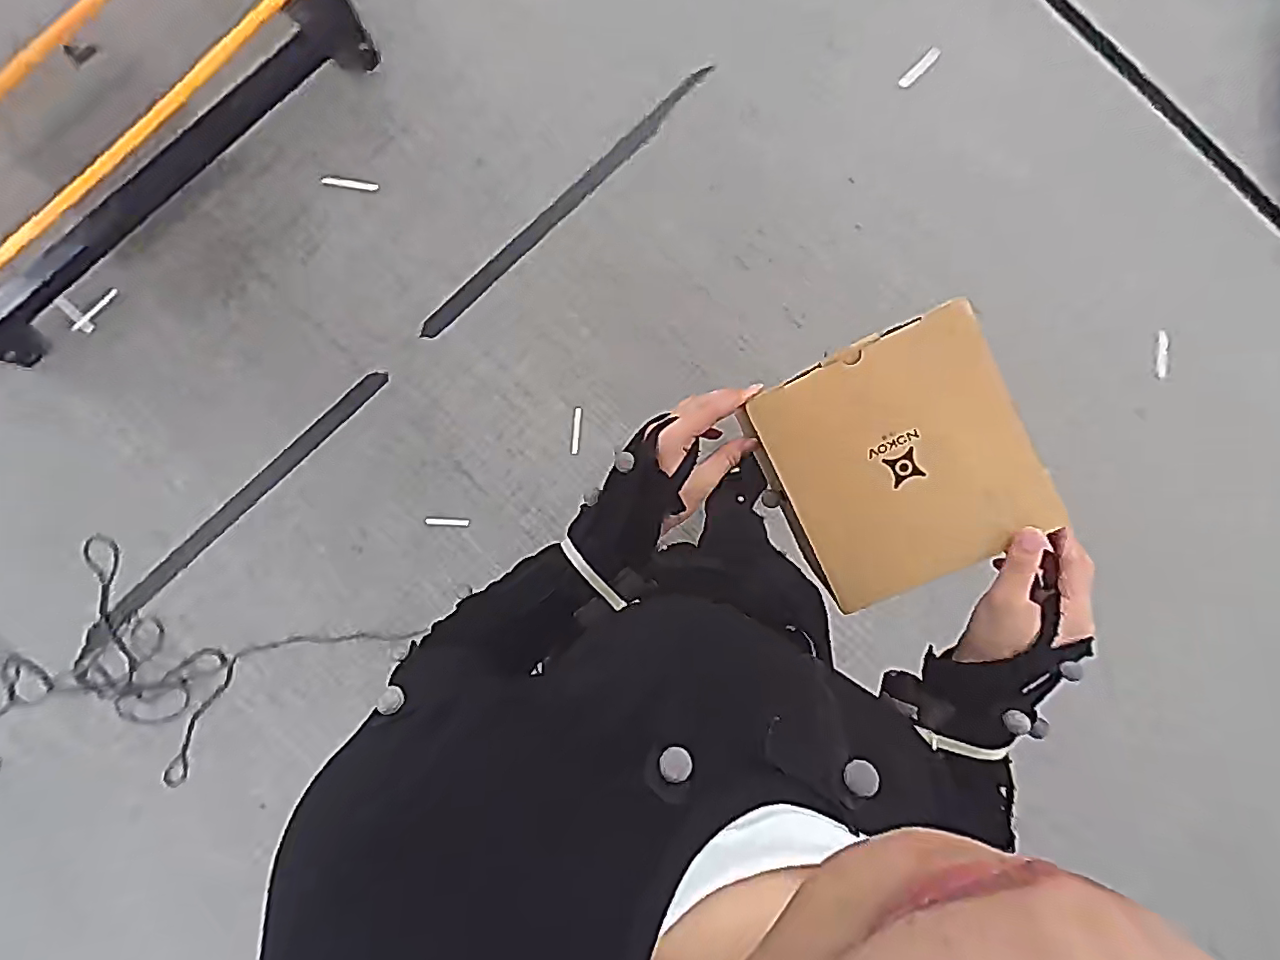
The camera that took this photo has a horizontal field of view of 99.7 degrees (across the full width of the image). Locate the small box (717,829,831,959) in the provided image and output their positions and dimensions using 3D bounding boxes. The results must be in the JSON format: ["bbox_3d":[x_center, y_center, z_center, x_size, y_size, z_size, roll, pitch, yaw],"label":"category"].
[{"bbox_3d":[0.303,0.966,1.268,0.168,0.176,0.179,-44,90,-3],"label":"small box"}]
